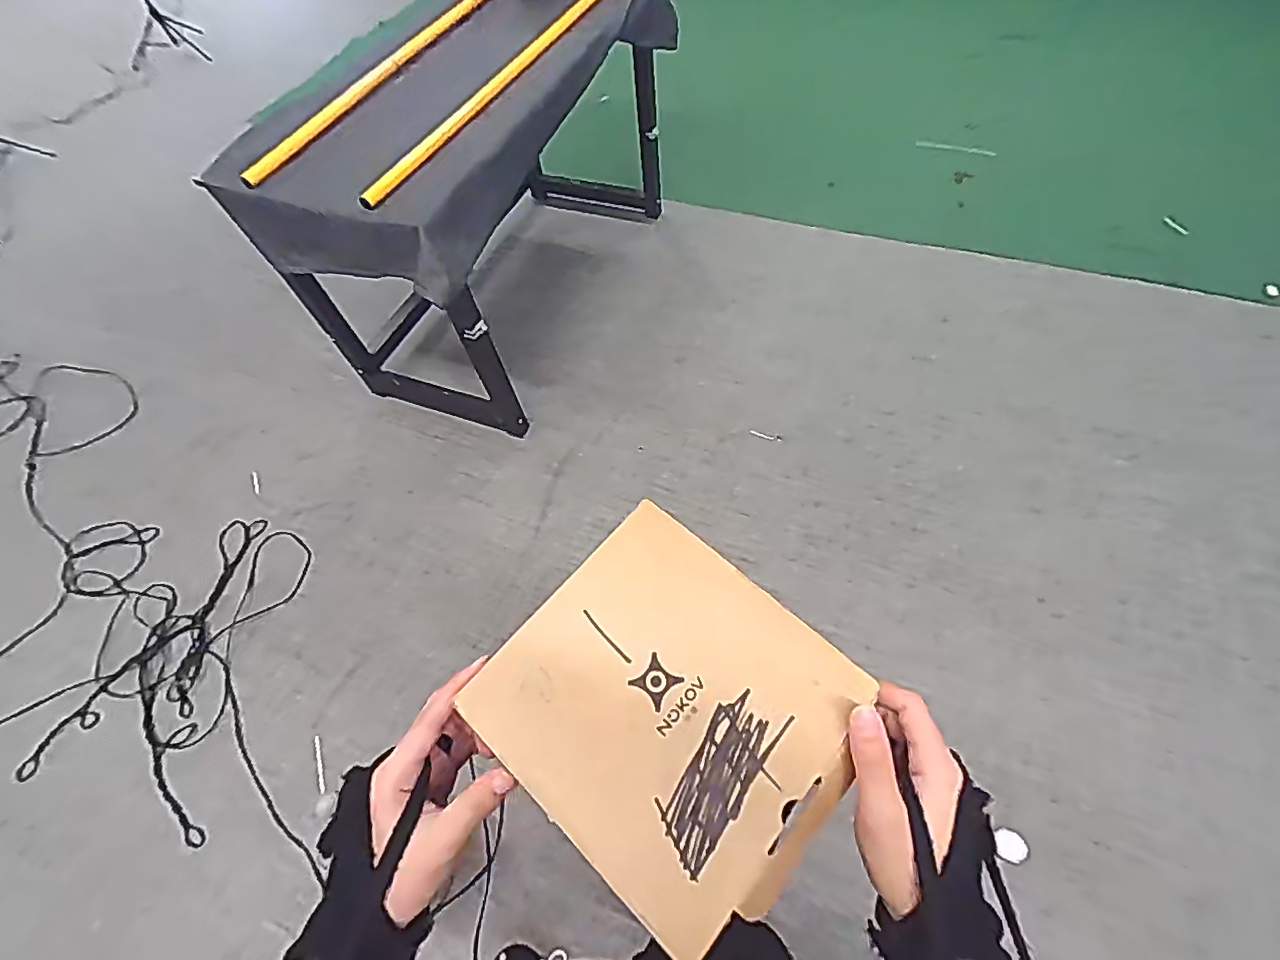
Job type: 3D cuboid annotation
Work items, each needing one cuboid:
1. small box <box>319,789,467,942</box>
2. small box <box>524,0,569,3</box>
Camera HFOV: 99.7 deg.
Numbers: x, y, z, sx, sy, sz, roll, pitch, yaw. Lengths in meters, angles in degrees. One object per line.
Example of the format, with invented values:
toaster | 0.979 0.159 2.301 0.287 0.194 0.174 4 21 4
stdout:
small box | -0.470 0.734 1.055 0.179 0.176 0.168 39 70 25
small box | -0.241 -1.462 1.501 0.179 0.176 0.168 18 63 16
